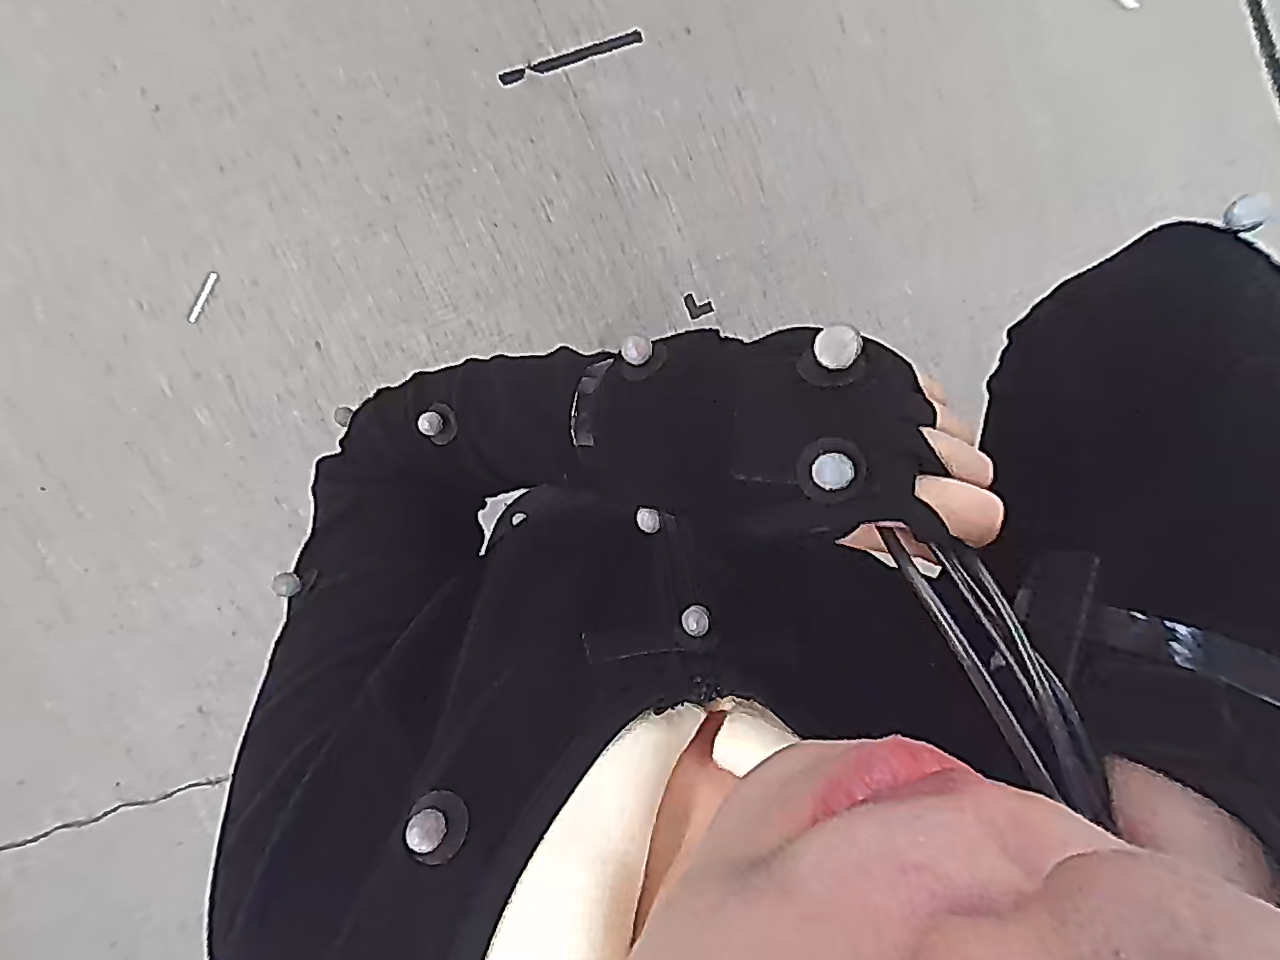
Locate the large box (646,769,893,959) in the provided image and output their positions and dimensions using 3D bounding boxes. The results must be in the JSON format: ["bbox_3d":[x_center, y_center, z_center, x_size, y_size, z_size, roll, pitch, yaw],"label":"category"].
[{"bbox_3d":[0.272,0.979,1.247,0.408,0.320,0.320,-36,95,-3],"label":"large box"}]
